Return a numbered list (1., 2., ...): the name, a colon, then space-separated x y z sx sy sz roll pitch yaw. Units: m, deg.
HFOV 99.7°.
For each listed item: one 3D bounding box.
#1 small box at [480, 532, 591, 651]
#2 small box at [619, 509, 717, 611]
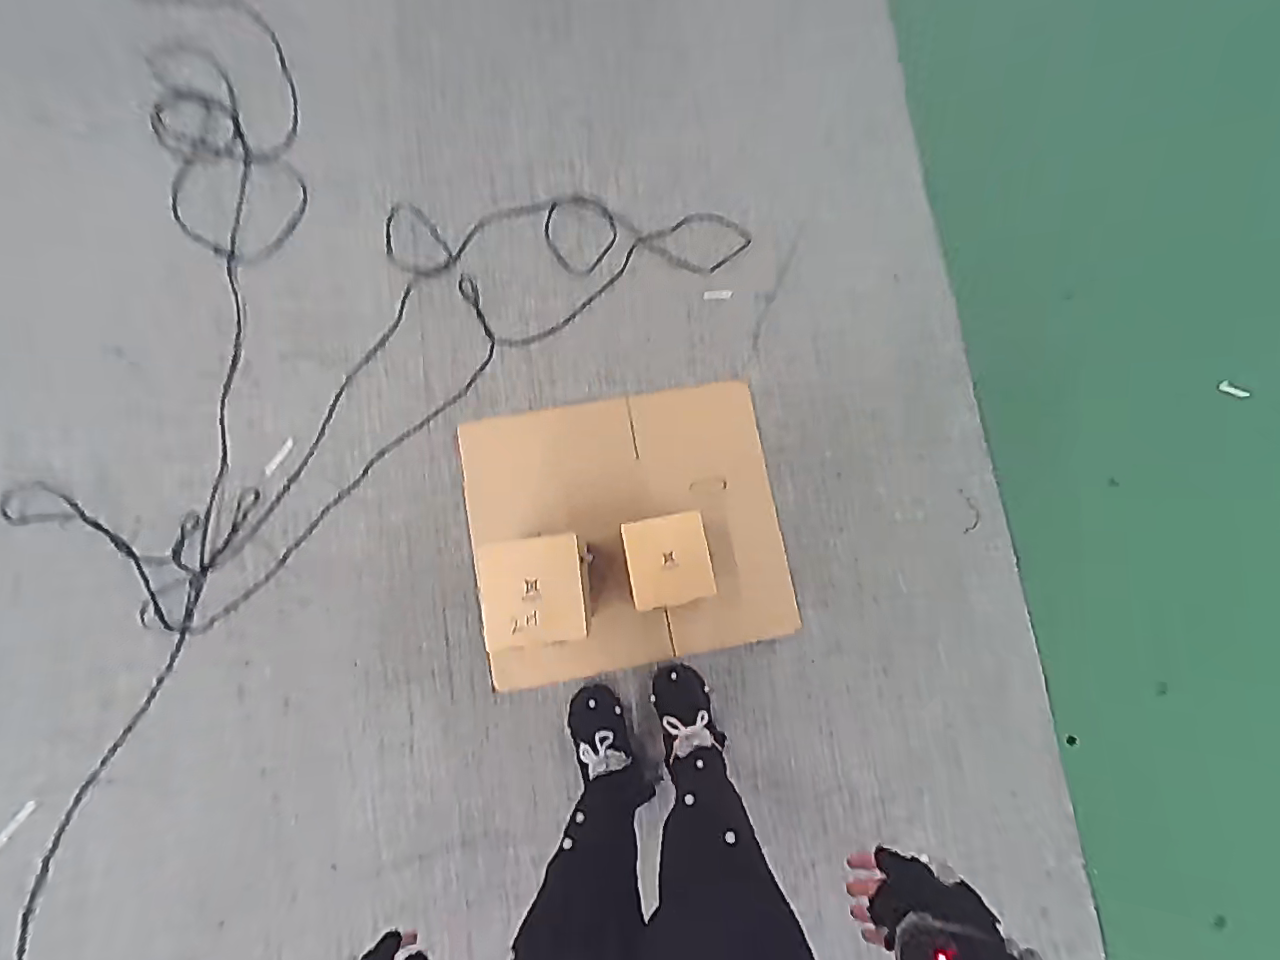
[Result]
1. small box: -0.179 0.194 0.963 0.168 0.176 0.179 -7 82 -4
2. small box: 0.051 0.170 1.150 0.168 0.176 0.179 -11 83 -6
